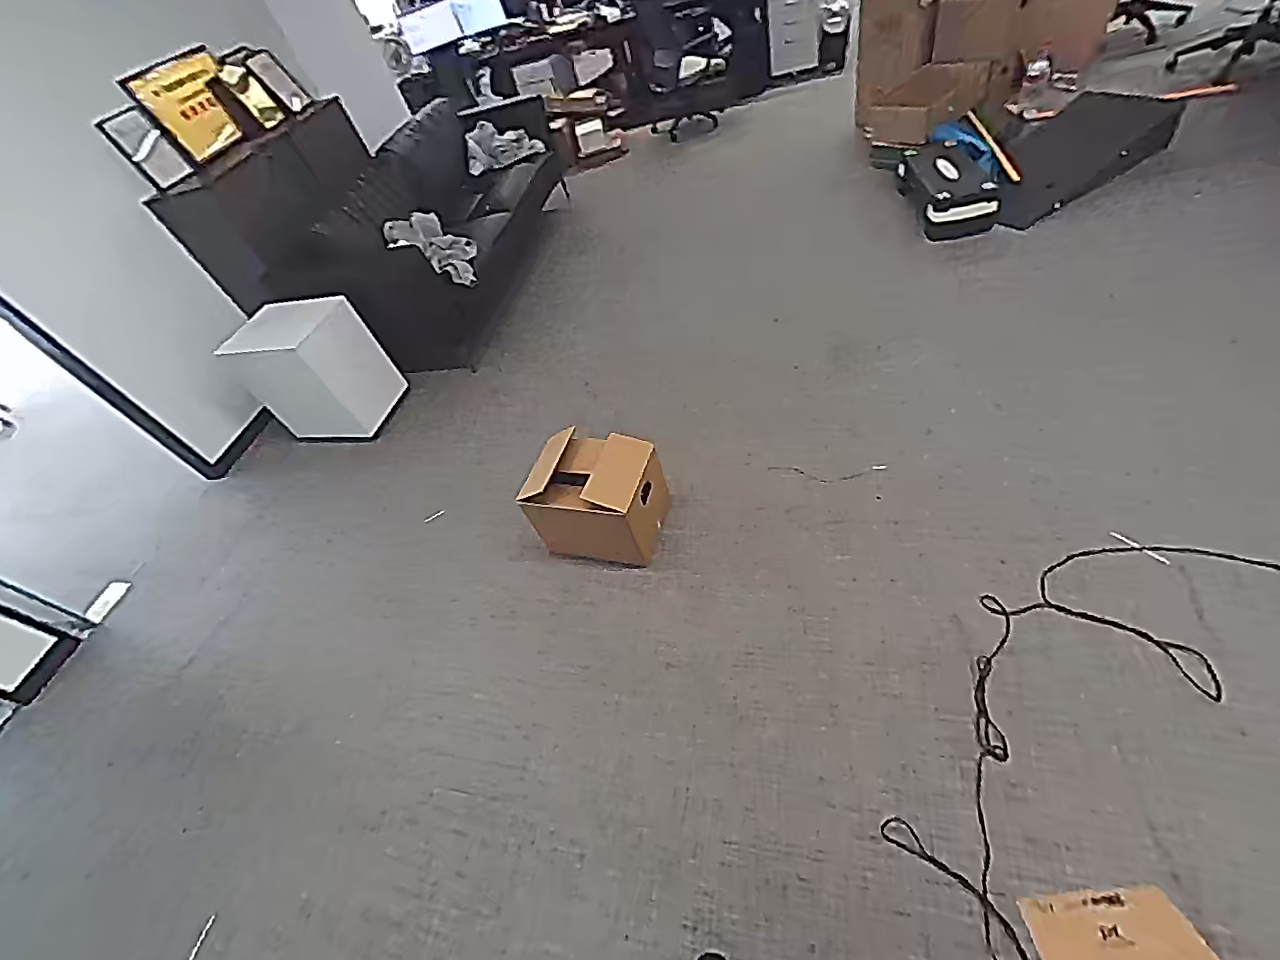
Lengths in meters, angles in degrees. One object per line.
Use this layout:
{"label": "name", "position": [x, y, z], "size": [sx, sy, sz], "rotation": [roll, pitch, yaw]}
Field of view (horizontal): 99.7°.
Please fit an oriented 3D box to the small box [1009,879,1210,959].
{"label": "small box", "position": [0.569, 0.608, 0.616], "size": [0.168, 0.179, 0.176], "rotation": [-24, 78, 17]}
